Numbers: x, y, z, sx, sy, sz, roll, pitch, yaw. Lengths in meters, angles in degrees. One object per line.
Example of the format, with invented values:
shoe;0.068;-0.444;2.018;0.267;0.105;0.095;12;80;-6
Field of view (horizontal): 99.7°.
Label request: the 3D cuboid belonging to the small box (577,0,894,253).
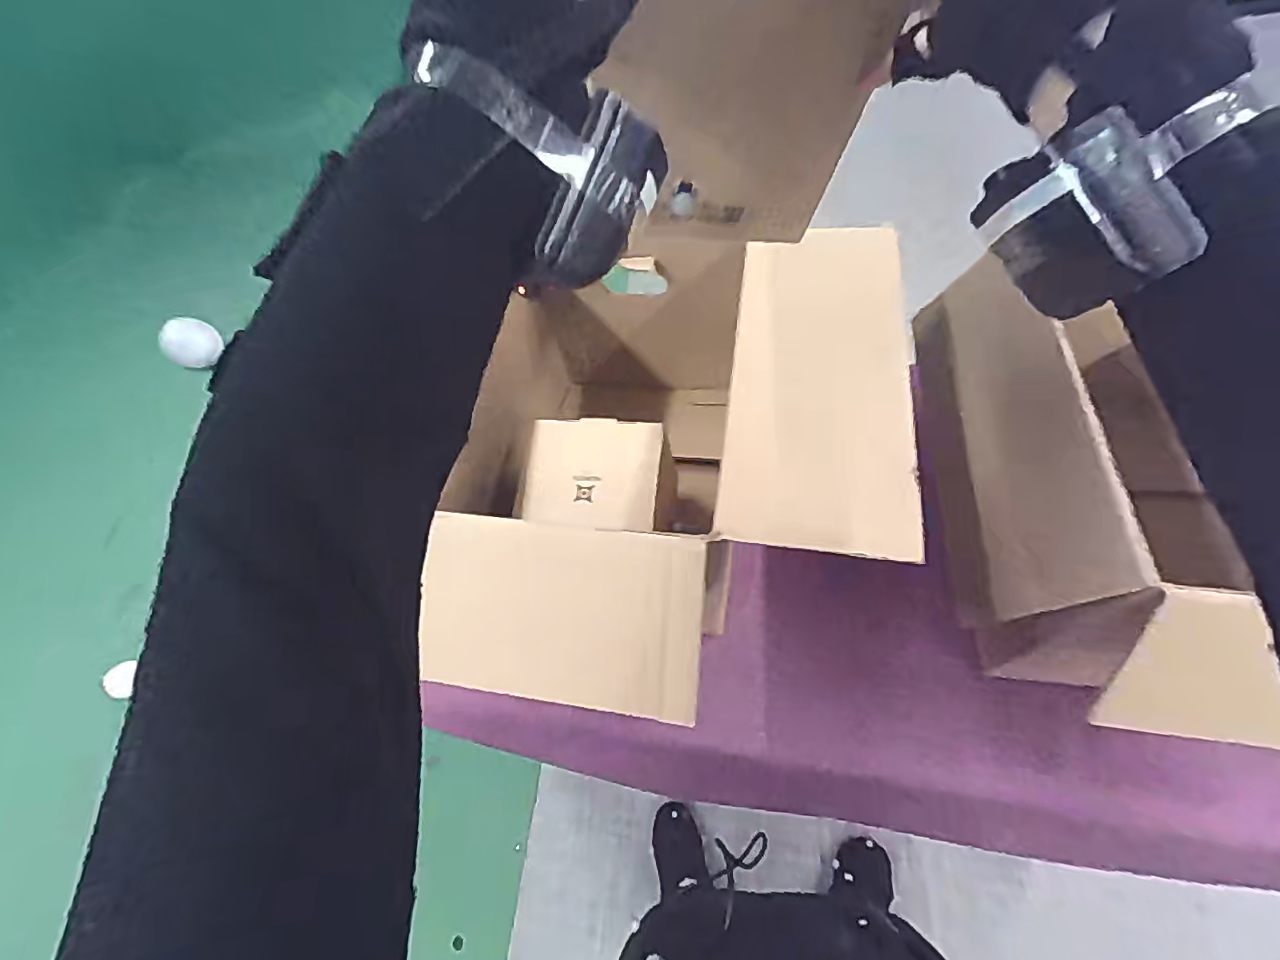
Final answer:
small box;0.040;-0.289;0.376;0.168;0.176;0.179;-1;67;-5
